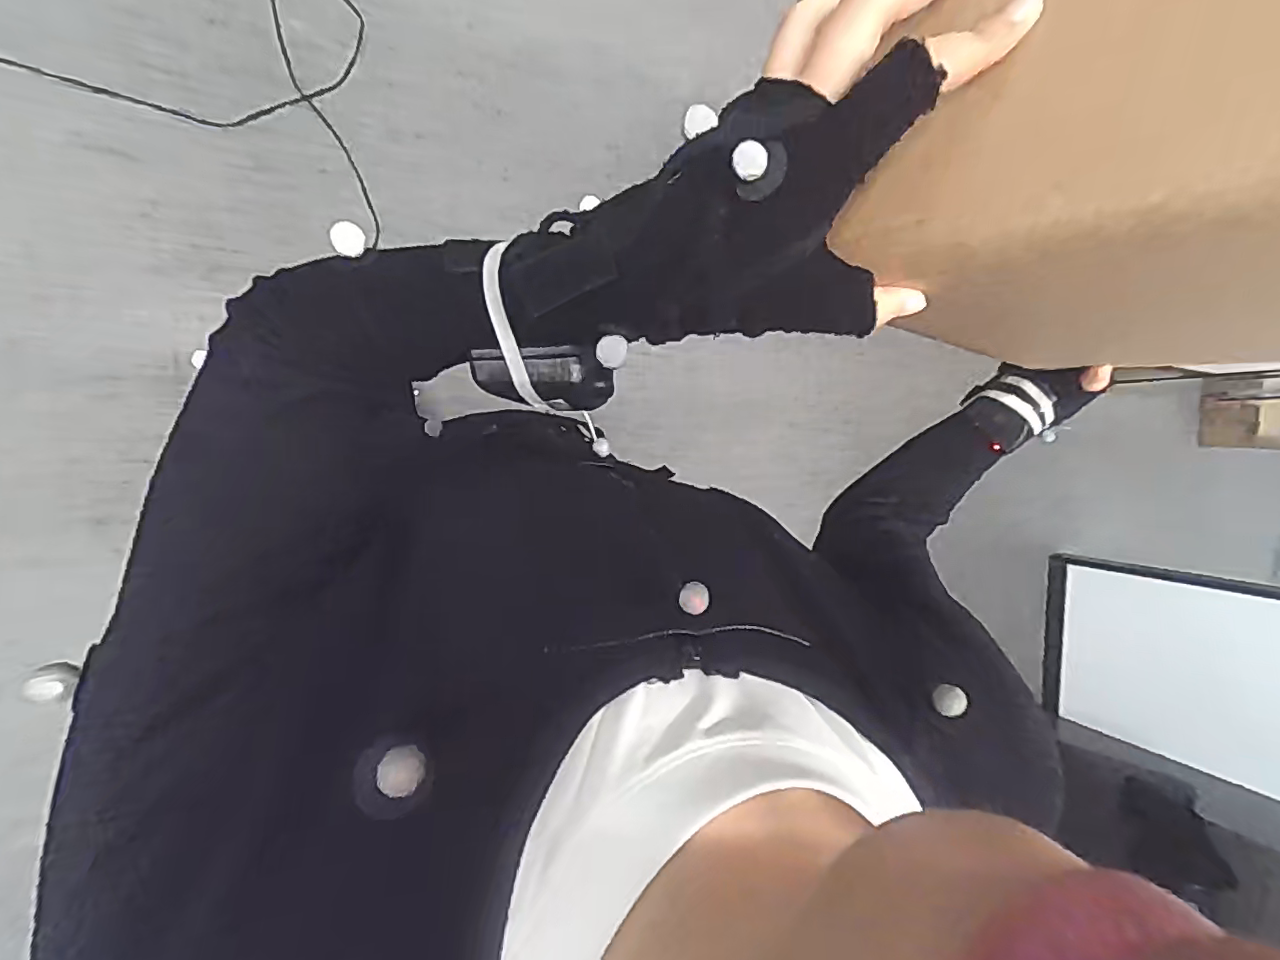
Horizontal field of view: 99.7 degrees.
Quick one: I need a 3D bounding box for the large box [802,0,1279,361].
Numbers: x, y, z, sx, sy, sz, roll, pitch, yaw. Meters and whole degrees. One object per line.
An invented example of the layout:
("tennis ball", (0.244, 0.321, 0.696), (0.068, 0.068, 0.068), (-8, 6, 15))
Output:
("large box", (0.322, -0.237, 0.258), (0.408, 0.320, 0.320), (-3, 99, -41))
